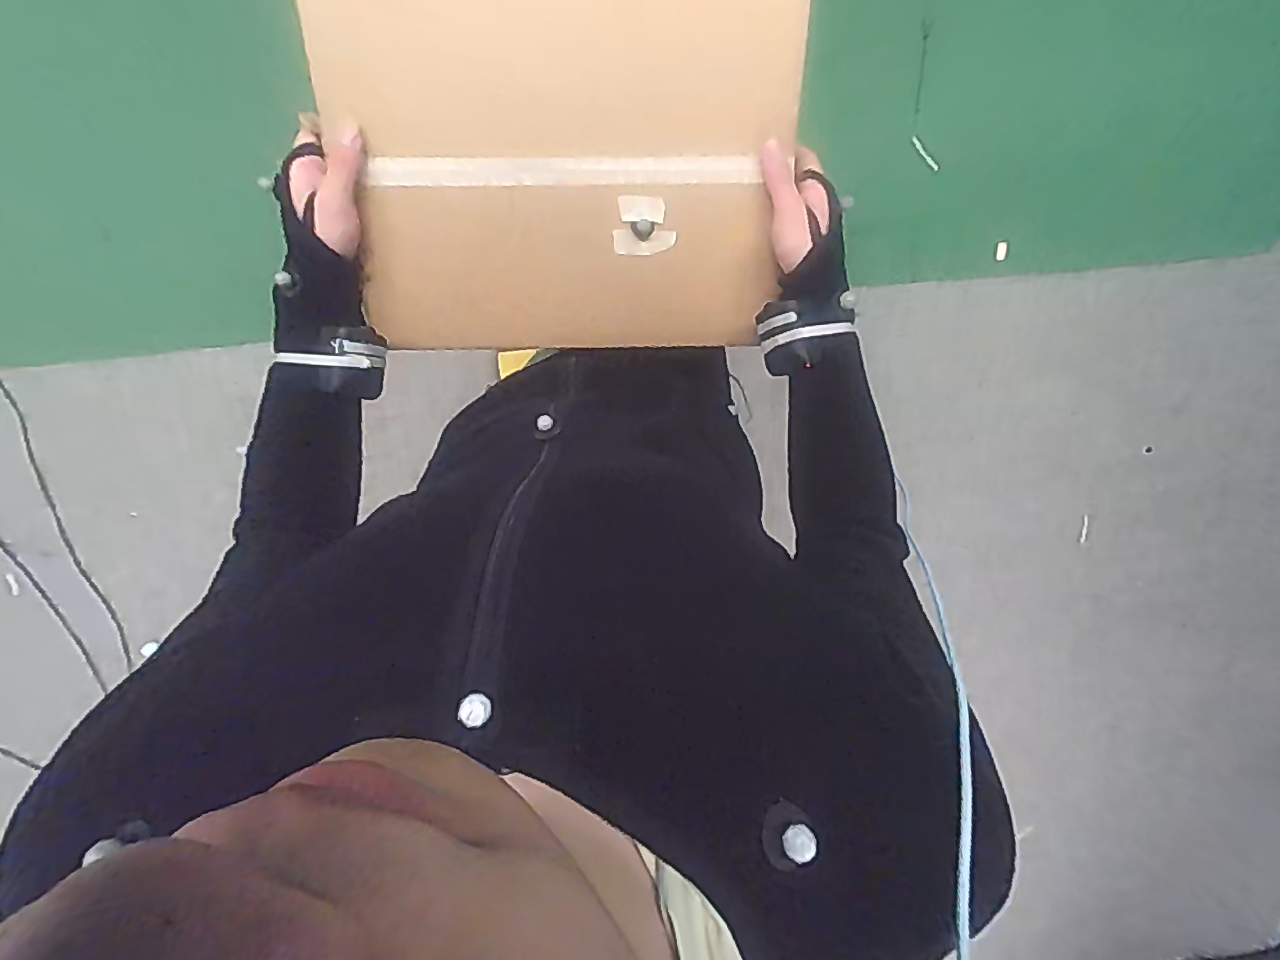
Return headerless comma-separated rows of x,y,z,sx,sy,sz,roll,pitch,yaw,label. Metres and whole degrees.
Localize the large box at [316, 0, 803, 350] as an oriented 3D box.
-0.070,-0.341,0.627,0.408,0.320,0.320,-2,116,-3,large box
